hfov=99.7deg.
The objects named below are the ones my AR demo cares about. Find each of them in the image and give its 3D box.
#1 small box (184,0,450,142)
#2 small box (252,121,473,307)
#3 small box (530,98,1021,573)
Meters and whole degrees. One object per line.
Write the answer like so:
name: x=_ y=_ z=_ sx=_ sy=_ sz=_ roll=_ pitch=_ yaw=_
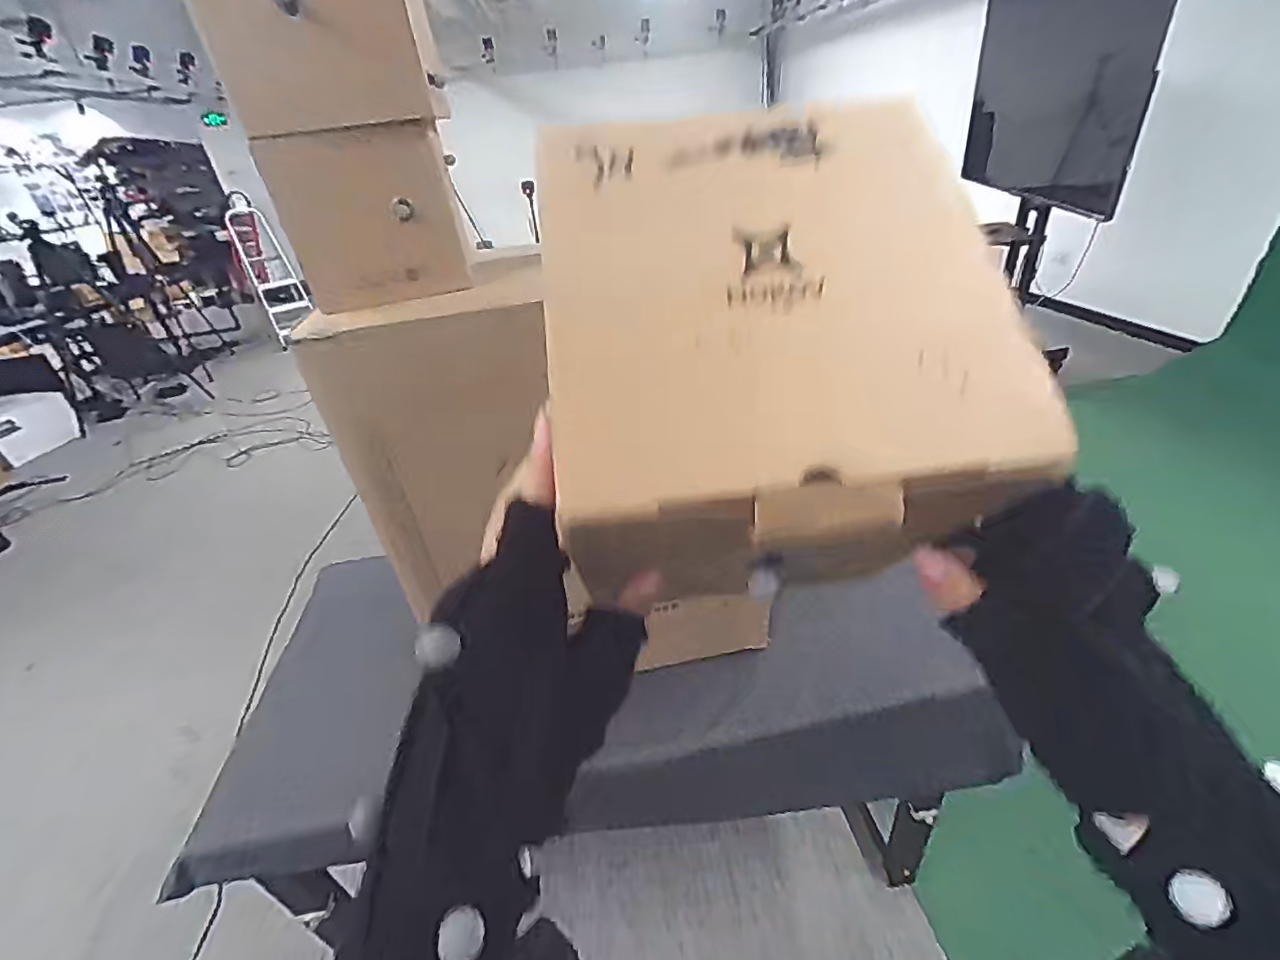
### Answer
small box: x=-0.303 y=-0.431 z=0.537 sx=0.179 sy=0.176 sz=0.168 roll=-12 pitch=35 yaw=-5
small box: x=-0.301 y=-0.313 z=0.627 sx=0.168 sy=0.176 sz=0.179 roll=-17 pitch=36 yaw=-12
small box: x=0.042 y=-0.052 z=0.285 sx=0.168 sy=0.176 sz=0.179 roll=-6 pitch=69 yaw=-1
